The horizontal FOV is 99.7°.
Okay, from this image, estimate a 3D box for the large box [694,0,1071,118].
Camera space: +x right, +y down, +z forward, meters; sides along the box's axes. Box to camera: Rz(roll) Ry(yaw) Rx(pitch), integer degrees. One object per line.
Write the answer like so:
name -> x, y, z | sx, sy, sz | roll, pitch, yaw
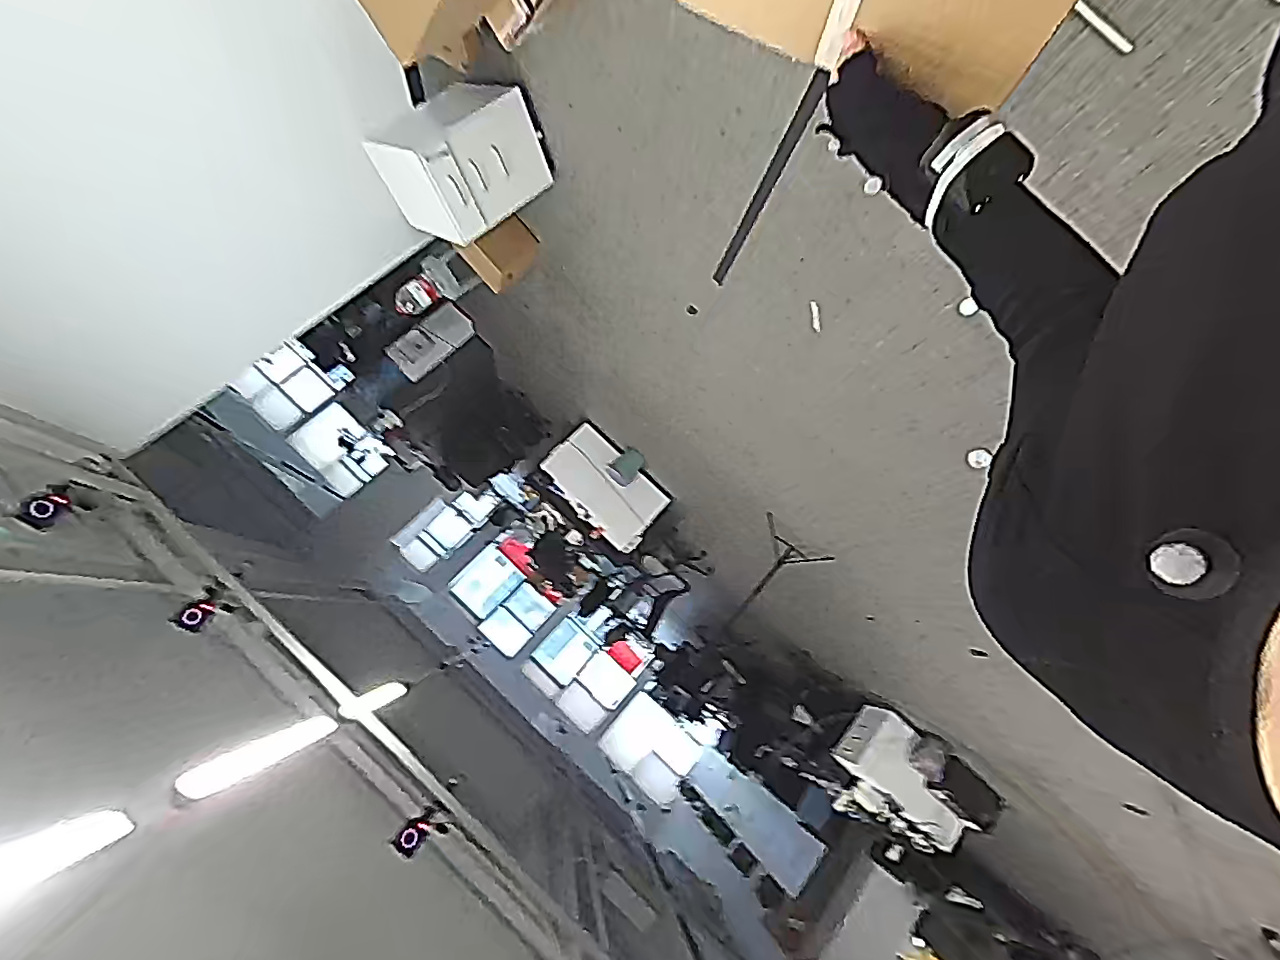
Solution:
large box -> 0.253, -0.575, 0.355 | 0.320, 0.320, 0.408 | 28, 165, 6
